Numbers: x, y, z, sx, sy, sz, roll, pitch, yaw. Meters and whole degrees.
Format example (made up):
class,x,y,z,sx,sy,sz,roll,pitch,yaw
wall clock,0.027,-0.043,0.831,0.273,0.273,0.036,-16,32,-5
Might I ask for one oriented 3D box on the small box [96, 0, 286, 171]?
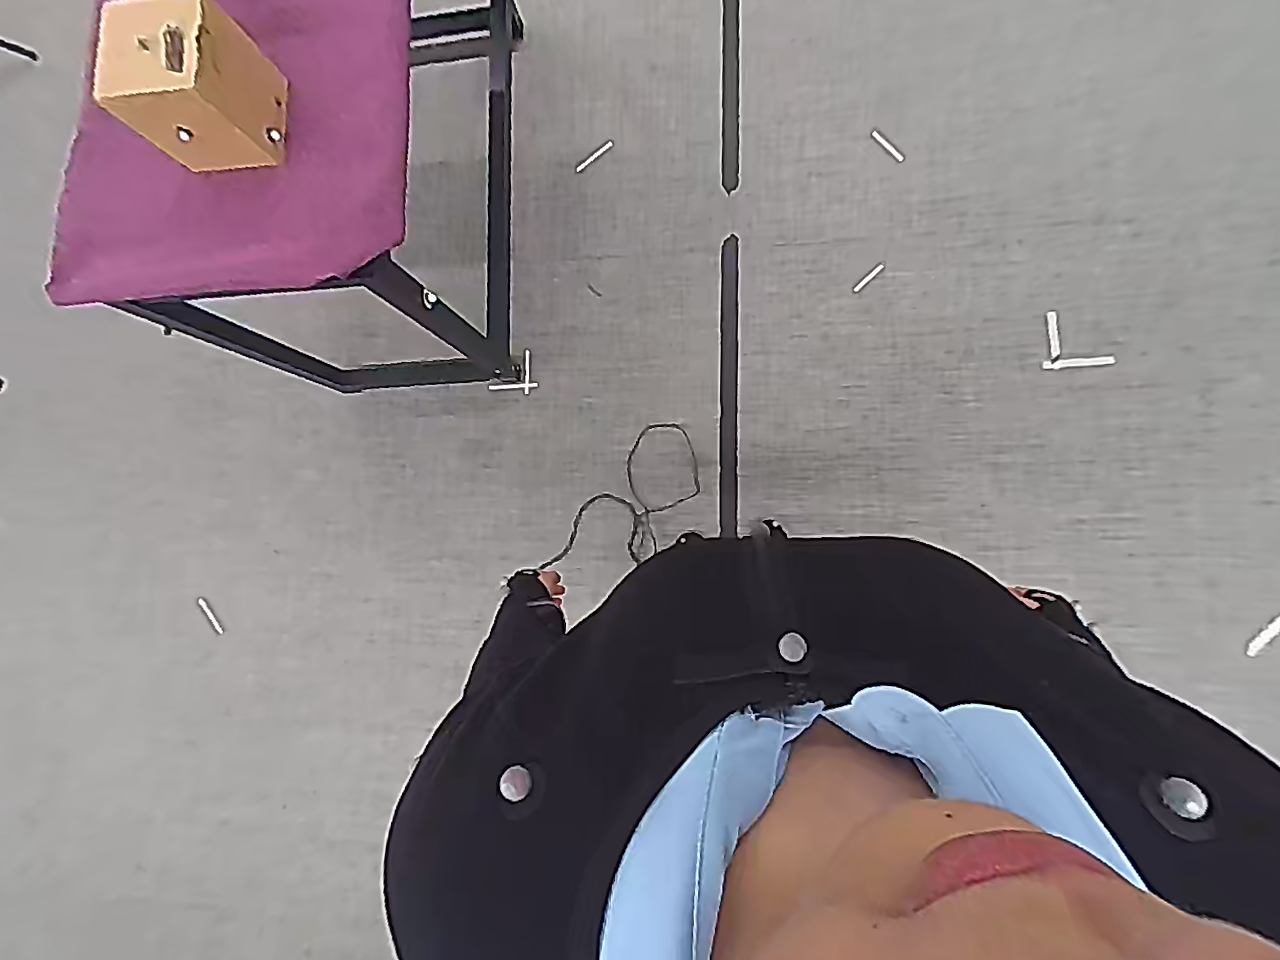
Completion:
class,x,y,z,sx,sy,sz,roll,pitch,yaw
small box,-0.721,-0.640,0.887,0.179,0.176,0.168,-1,84,7
